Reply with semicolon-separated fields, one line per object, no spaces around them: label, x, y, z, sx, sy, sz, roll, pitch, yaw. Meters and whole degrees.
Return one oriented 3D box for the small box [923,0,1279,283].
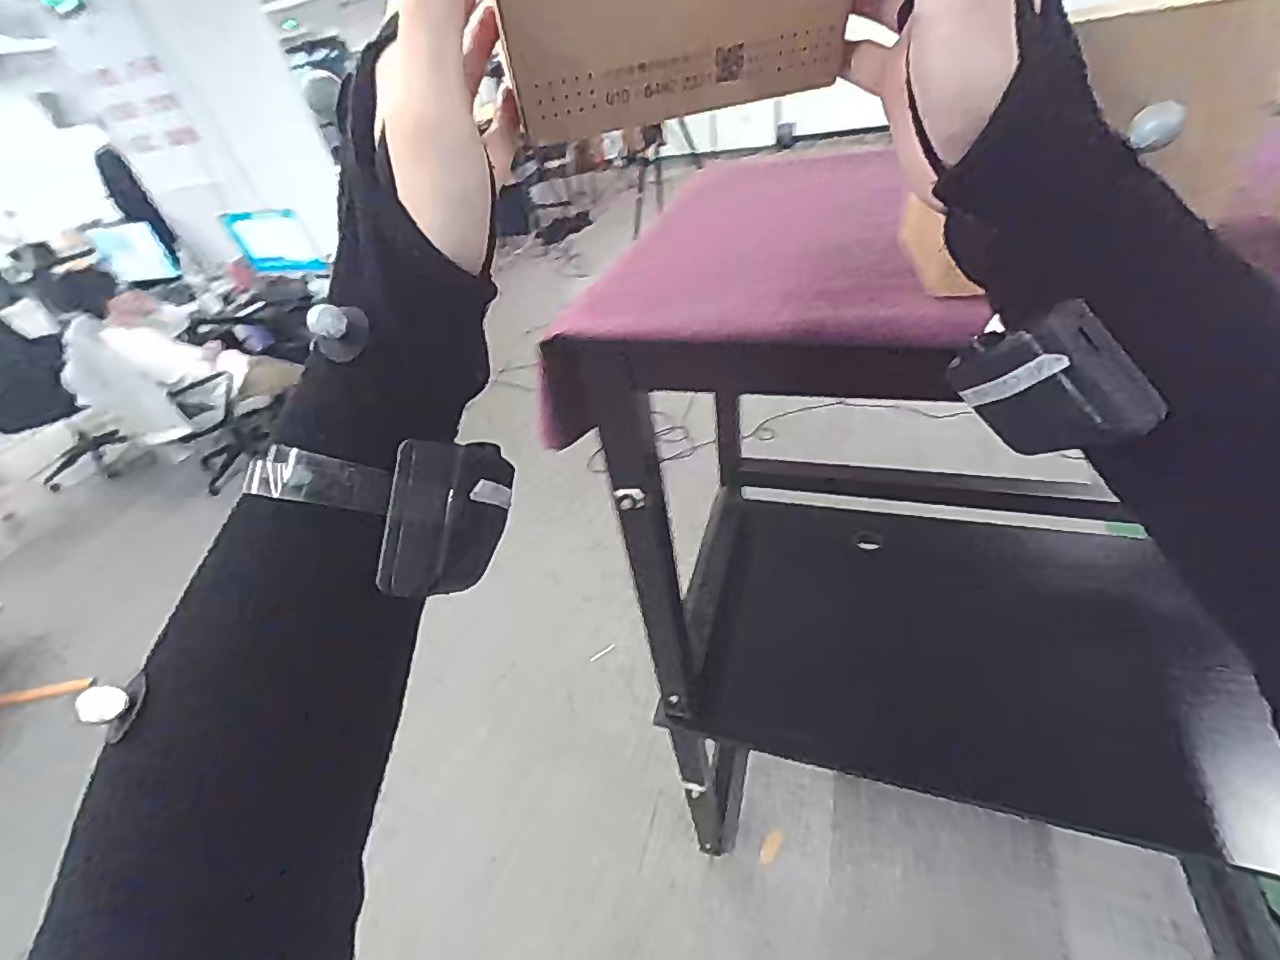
small box;0.320;-0.253;0.395;0.168;0.176;0.179;4;41;15
